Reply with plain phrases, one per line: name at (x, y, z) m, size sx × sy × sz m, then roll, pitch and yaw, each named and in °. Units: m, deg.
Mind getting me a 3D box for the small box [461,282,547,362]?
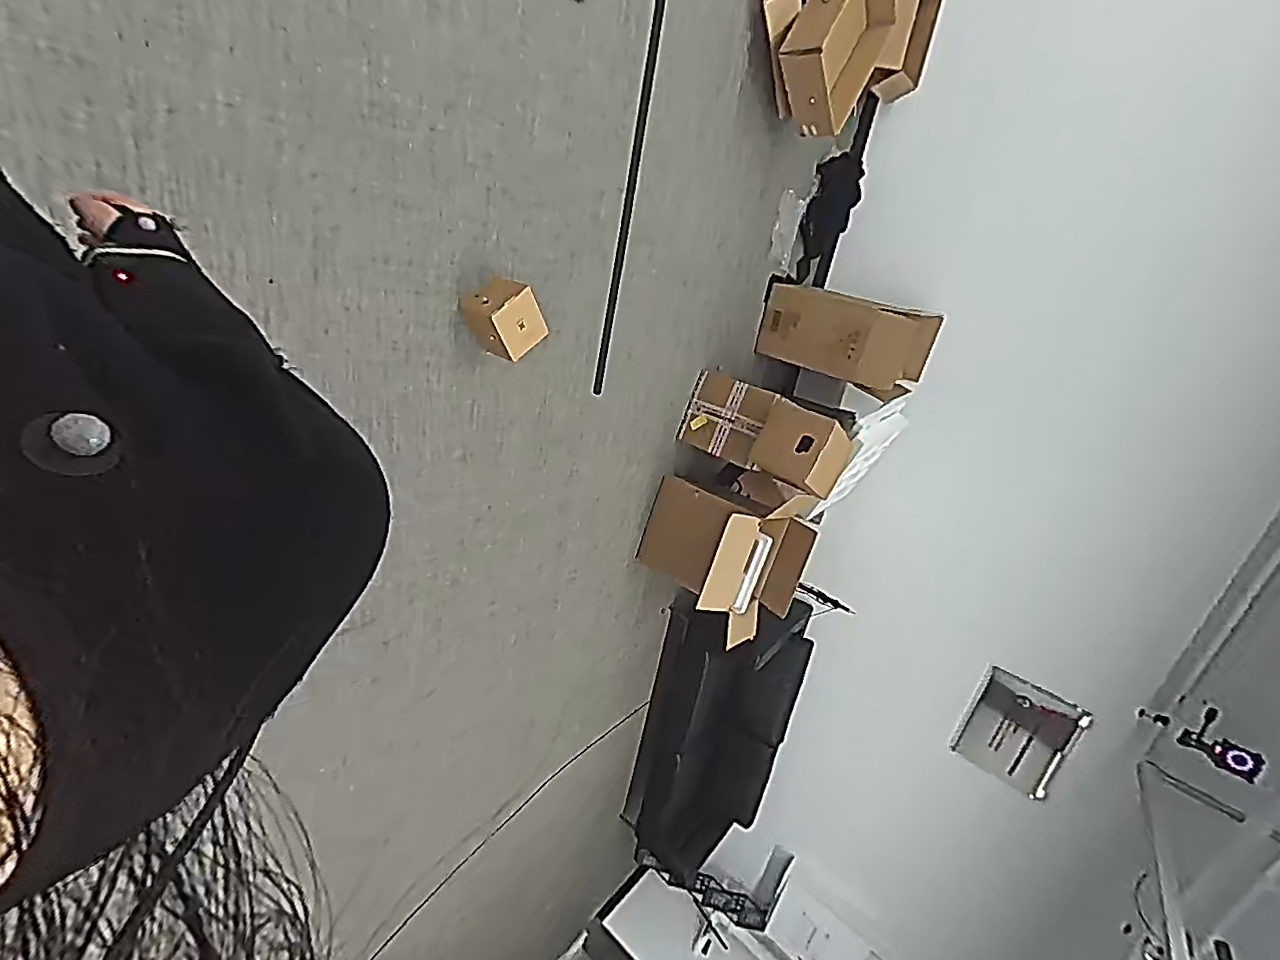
small box at (-0.431, -0.506, 1.708) m, size 0.168 × 0.176 × 0.179 m, roll -48°, pitch 145°, yaw -22°
